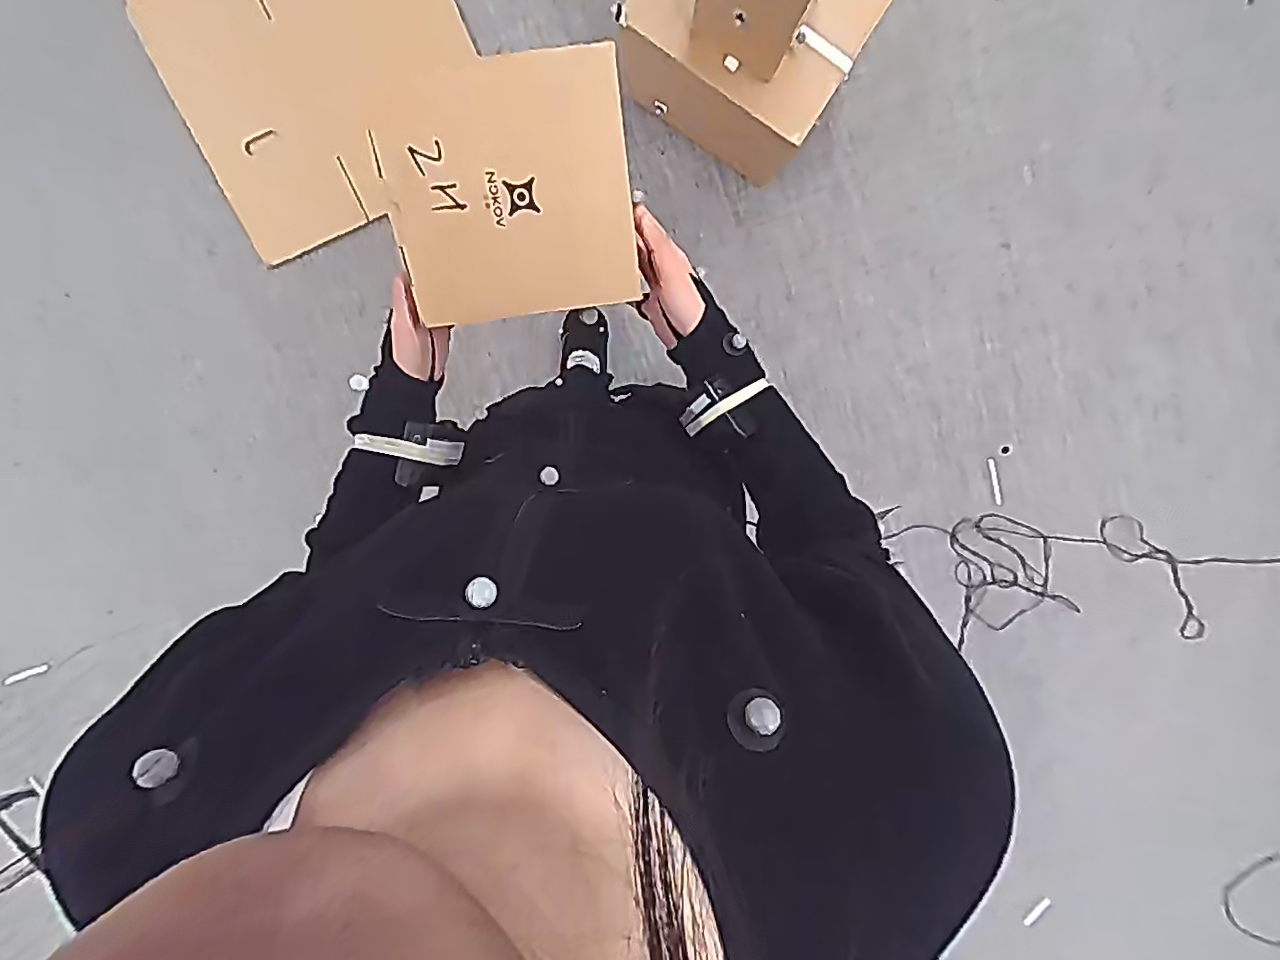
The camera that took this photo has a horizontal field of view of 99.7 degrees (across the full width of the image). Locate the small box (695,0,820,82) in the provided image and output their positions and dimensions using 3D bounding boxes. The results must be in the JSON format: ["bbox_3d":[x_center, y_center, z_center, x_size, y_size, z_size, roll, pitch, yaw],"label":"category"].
[{"bbox_3d":[0.205,-0.810,0.893,0.179,0.176,0.168,28,104,-8],"label":"small box"}]

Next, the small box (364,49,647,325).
[{"bbox_3d":[-0.094,-0.235,0.459,0.179,0.176,0.168,-7,114,-1],"label":"small box"}]
